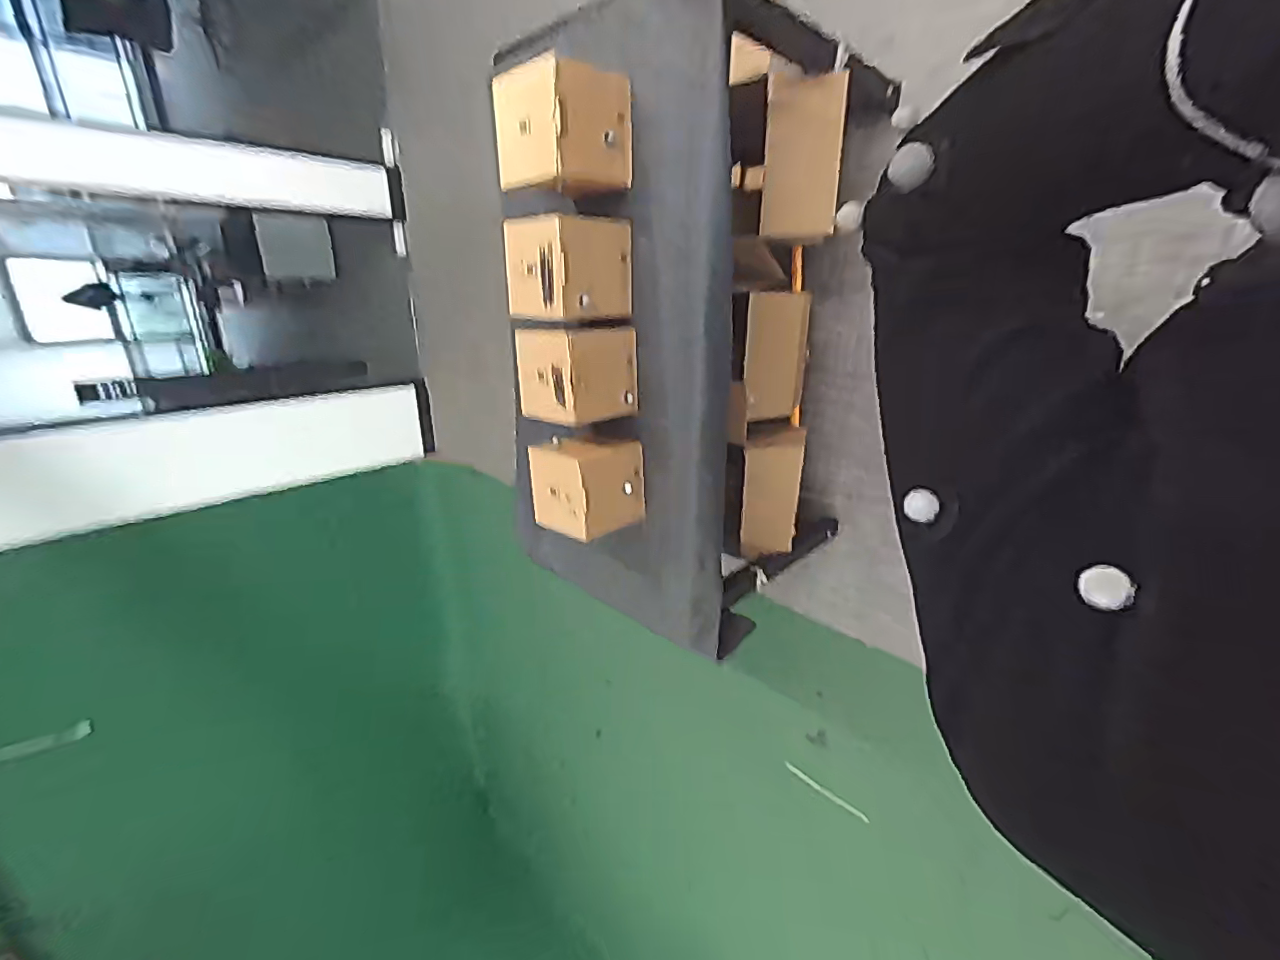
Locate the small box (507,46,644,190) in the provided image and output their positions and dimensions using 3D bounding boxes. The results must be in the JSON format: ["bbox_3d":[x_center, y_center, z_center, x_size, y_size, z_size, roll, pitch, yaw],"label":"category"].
[{"bbox_3d":[-0.112,-0.622,0.957,0.179,0.176,0.168,17,117,42],"label":"small box"}]

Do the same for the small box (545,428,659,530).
[{"bbox_3d":[-0.079,-0.011,1.150,0.179,0.176,0.168,14,114,44],"label":"small box"}]
